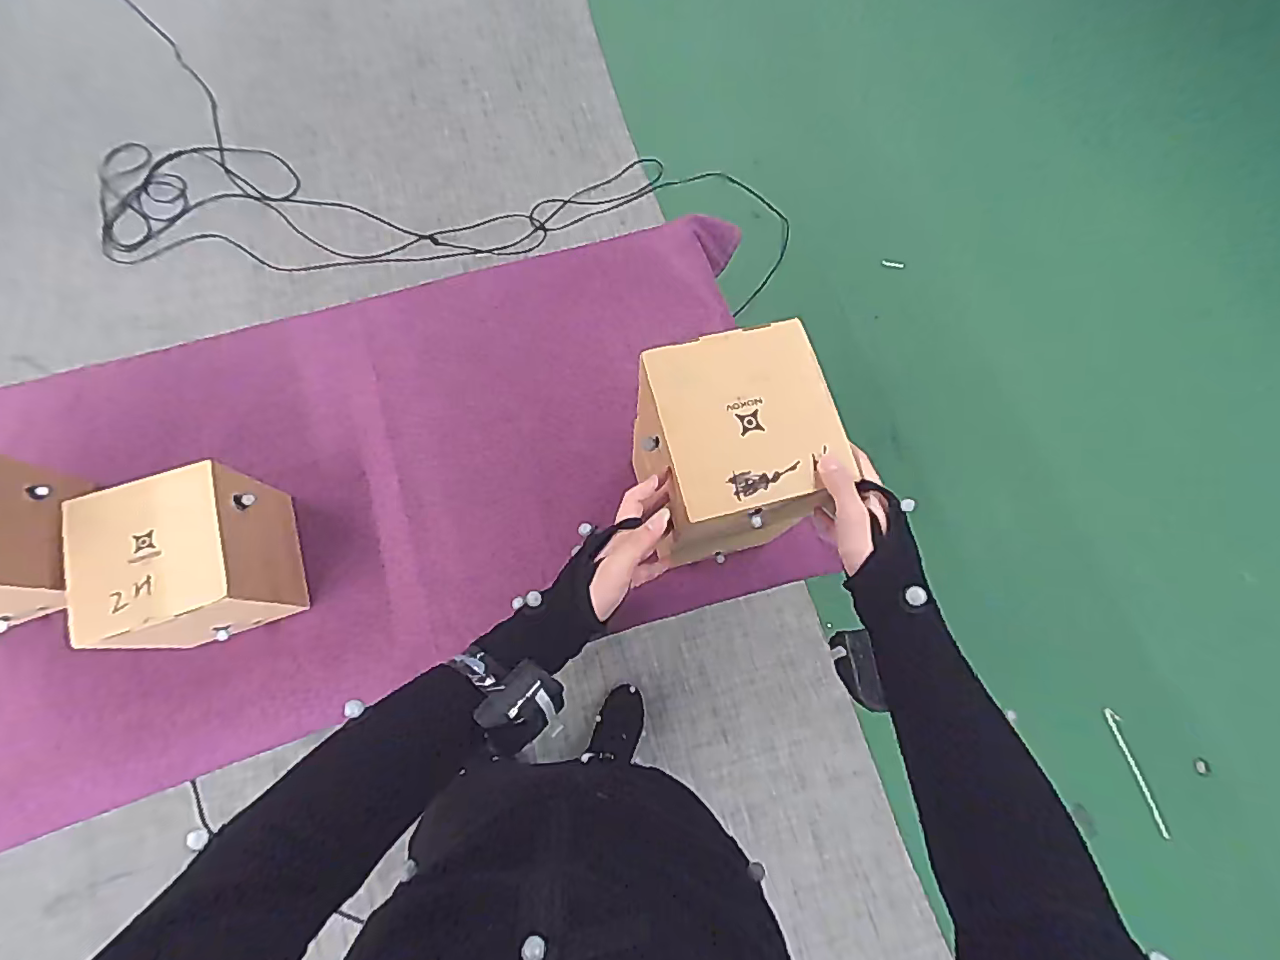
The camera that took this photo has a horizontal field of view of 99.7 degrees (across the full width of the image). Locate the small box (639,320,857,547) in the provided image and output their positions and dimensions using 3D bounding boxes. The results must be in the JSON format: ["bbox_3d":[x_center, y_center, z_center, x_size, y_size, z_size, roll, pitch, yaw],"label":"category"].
[{"bbox_3d":[0.097,-0.039,0.581,0.168,0.176,0.179,-14,76,-5],"label":"small box"}]

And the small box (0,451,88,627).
[{"bbox_3d":[-0.840,0.081,0.683,0.168,0.176,0.179,-19,76,-7],"label":"small box"}]

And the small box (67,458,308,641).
[{"bbox_3d":[-0.560,0.097,0.689,0.168,0.176,0.179,-18,75,-7],"label":"small box"}]
